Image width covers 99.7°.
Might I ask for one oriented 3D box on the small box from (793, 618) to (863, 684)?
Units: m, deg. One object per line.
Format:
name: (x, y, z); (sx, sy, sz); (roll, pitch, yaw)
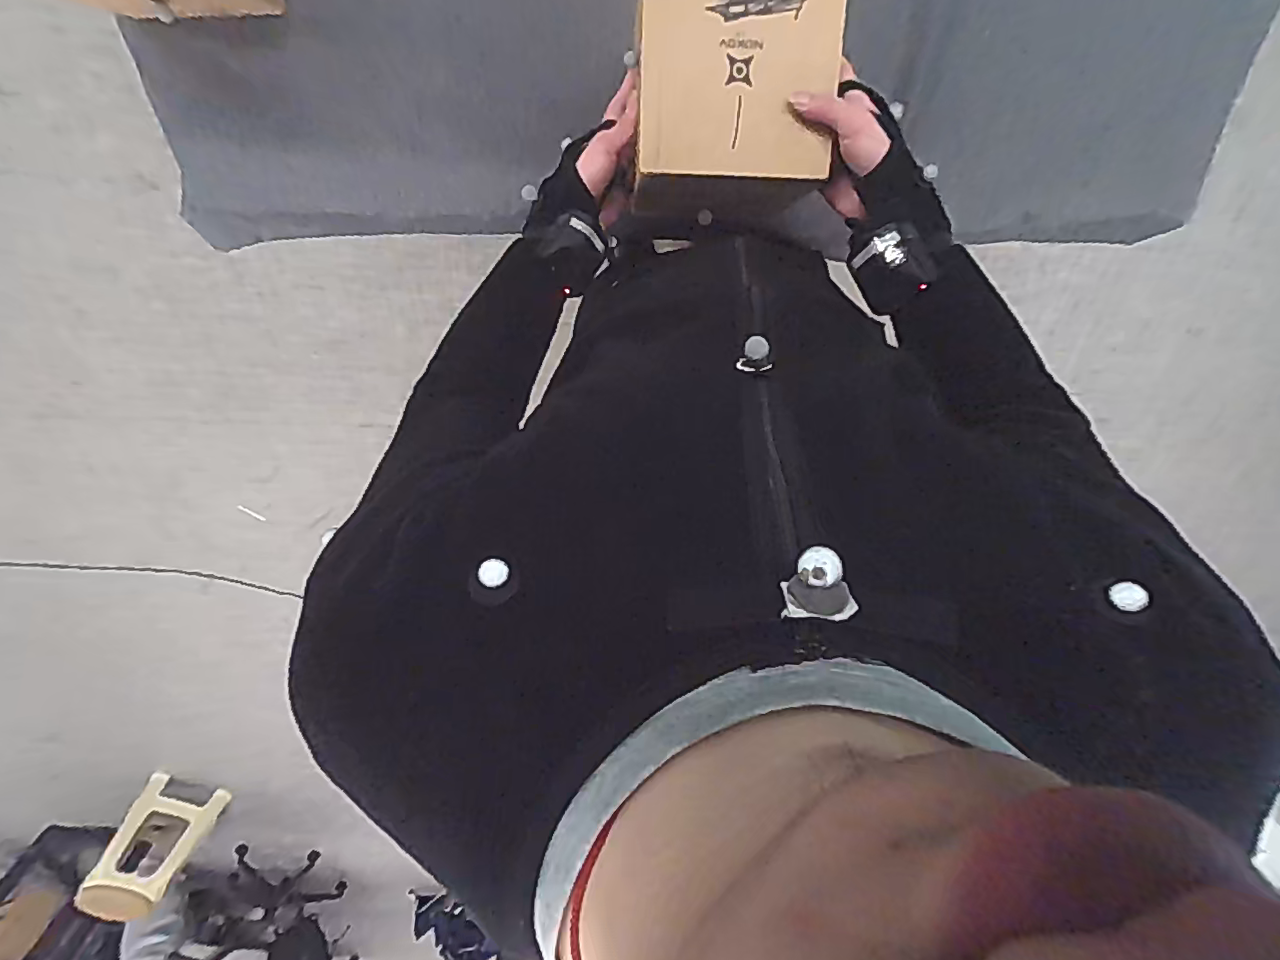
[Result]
small box: (0.712, 0.650, 2.068); (0.179, 0.176, 0.168); (11, 119, -7)
